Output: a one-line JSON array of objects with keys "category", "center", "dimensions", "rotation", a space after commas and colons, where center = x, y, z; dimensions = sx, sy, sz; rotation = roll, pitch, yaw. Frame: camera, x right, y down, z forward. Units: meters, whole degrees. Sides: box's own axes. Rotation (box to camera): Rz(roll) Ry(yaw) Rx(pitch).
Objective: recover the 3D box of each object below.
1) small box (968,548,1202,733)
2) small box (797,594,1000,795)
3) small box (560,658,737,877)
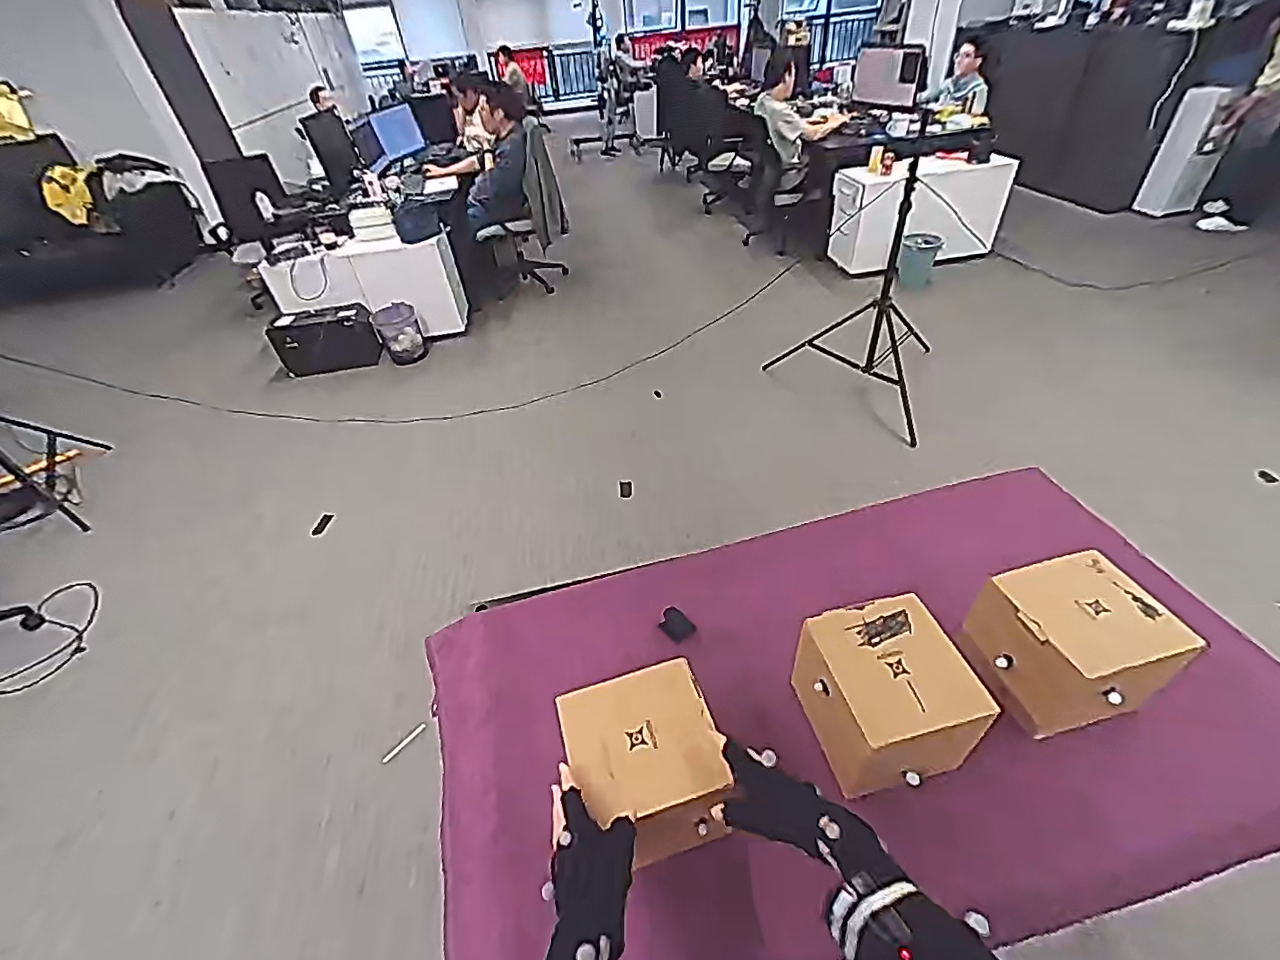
[{"category": "small box", "center": [0.600, 0.228, 0.764], "dimensions": [0.179, 0.176, 0.168], "rotation": [-13, 41, -6]}, {"category": "small box", "center": [0.327, 0.288, 0.731], "dimensions": [0.168, 0.176, 0.179], "rotation": [-12, 41, -6]}, {"category": "small box", "center": [0.010, 0.363, 0.688], "dimensions": [0.179, 0.176, 0.168], "rotation": [-16, 40, -9]}]
